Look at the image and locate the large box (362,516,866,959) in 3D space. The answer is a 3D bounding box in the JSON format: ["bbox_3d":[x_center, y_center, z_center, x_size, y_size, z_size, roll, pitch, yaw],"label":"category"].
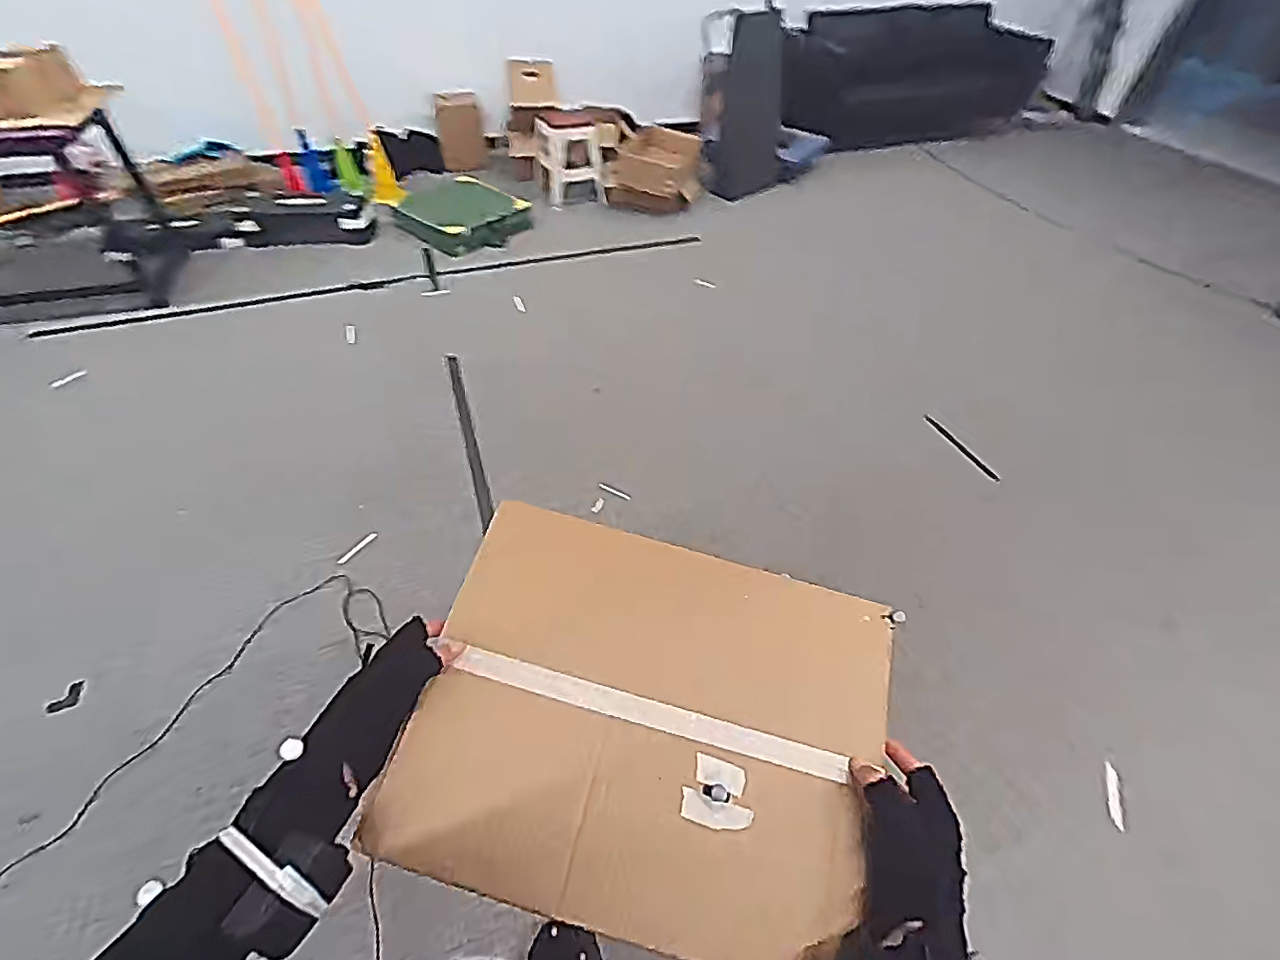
[{"bbox_3d":[-0.009,0.278,0.618,0.408,0.320,0.320,14,63,2],"label":"large box"}]
